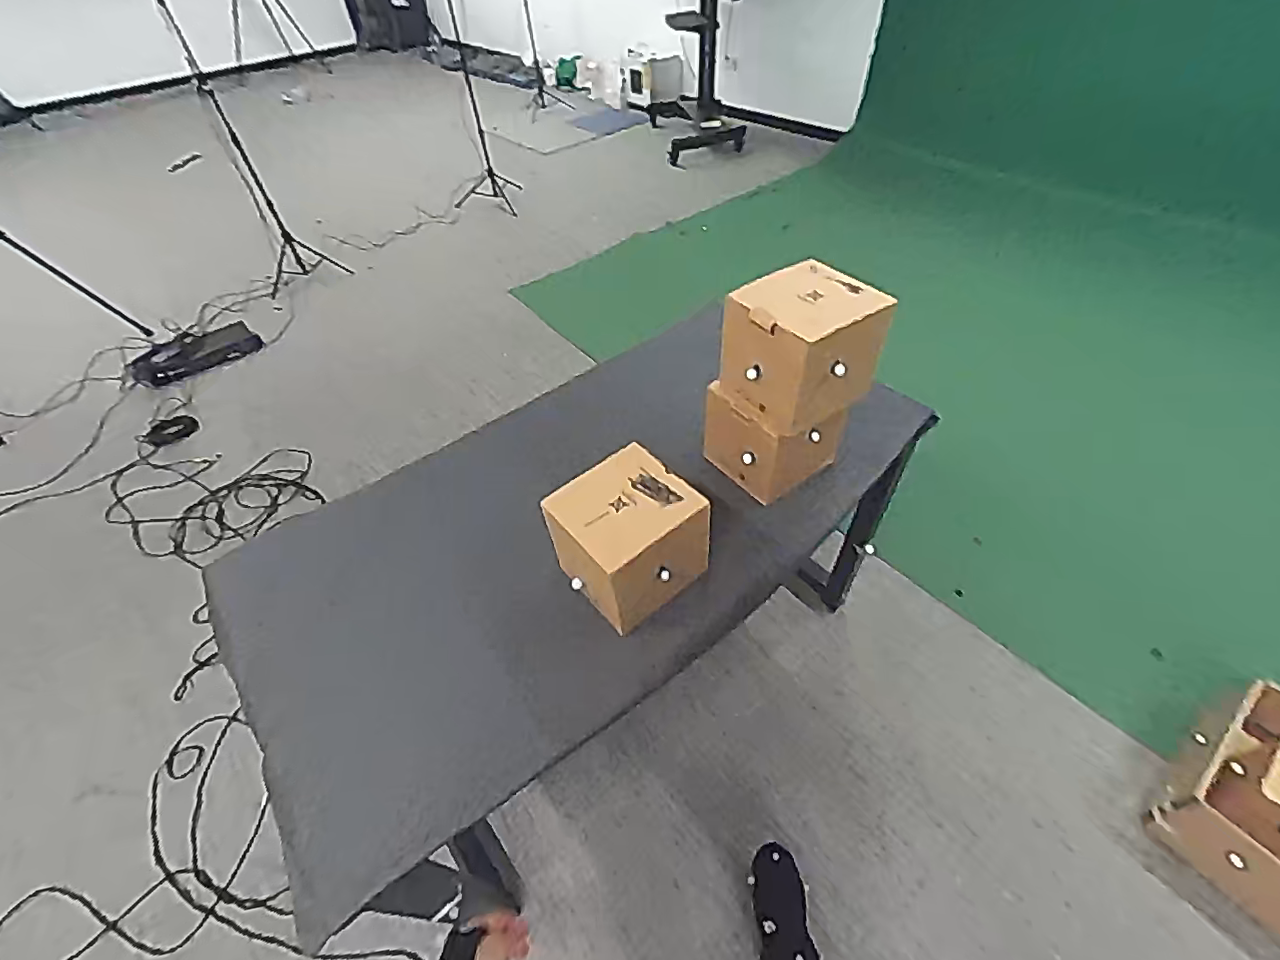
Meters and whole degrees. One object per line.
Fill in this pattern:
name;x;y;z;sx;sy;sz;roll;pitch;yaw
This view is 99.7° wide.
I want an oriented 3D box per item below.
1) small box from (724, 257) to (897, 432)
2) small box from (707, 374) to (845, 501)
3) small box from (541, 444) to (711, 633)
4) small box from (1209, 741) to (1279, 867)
small box;0.243;-0.201;0.812;0.179;0.176;0.168;-28;52;-19
small box;0.232;-0.095;0.938;0.179;0.176;0.168;-30;53;-22
small box;-0.016;0.085;0.790;0.179;0.176;0.168;-34;53;-22
small box;1.328;0.669;1.090;0.168;0.176;0.179;-33;55;-22
